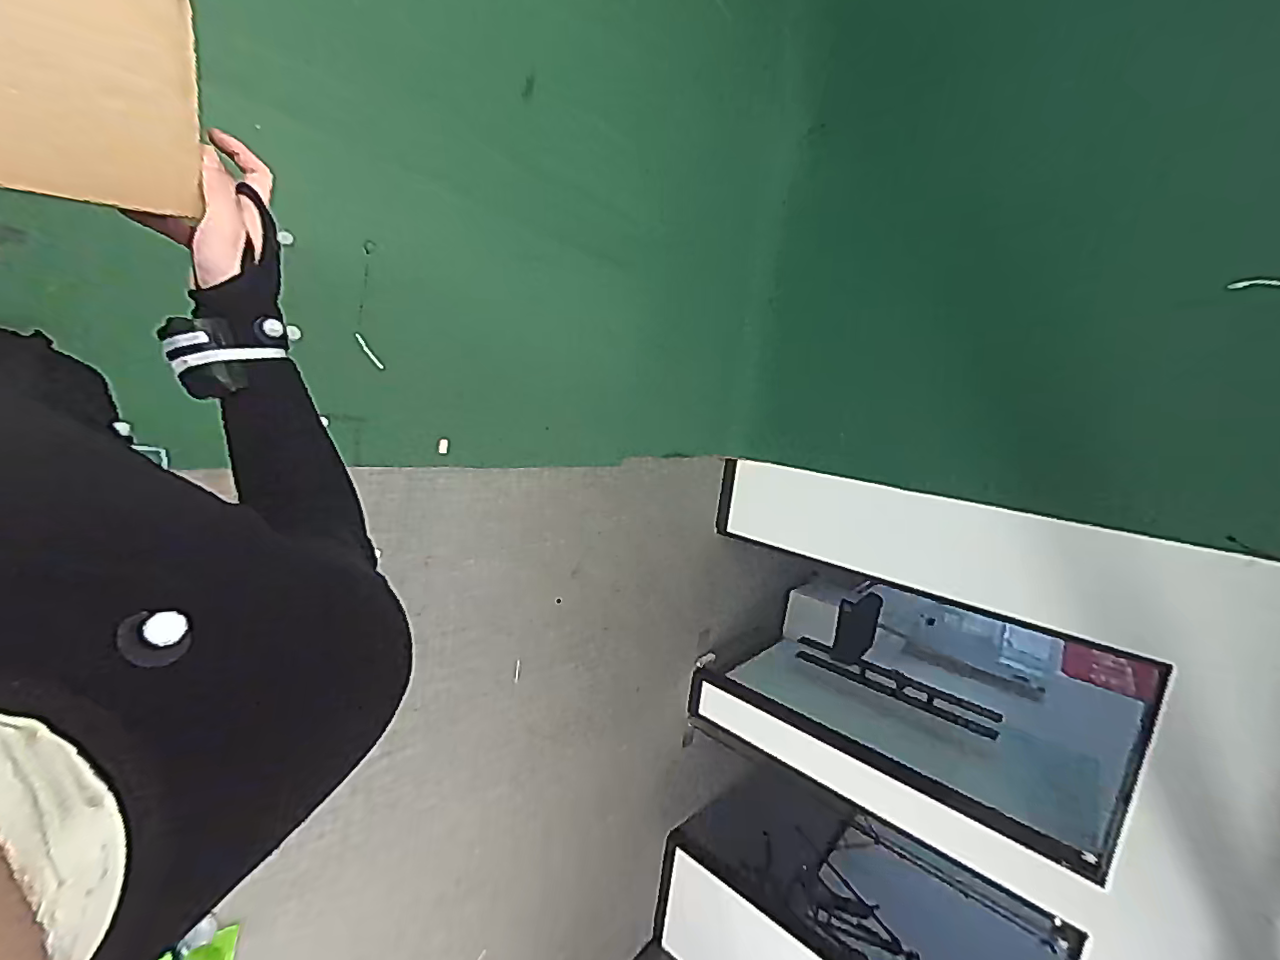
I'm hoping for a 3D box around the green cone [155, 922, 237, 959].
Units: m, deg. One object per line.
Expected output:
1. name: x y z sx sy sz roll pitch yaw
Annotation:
1. green cone: -1.156 1.438 1.446 0.200 0.368 0.202 6 95 -52
